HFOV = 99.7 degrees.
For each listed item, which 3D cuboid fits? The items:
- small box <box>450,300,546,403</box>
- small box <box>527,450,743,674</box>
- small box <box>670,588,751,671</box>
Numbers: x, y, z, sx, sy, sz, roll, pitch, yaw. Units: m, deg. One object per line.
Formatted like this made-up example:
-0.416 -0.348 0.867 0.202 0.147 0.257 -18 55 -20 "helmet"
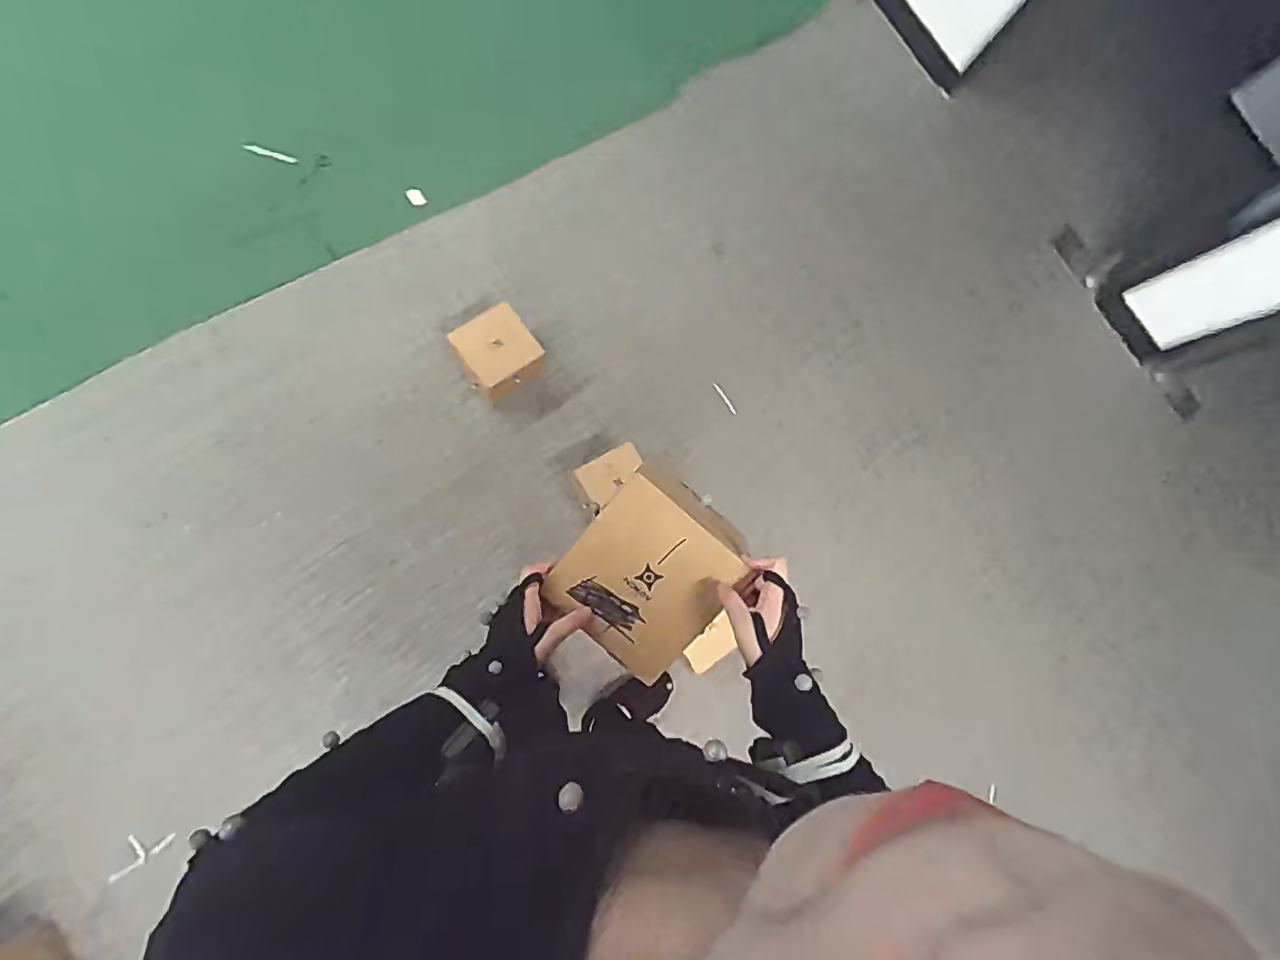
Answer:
-0.362 -0.326 1.404 0.179 0.176 0.168 -36 90 -15 "small box"
0.002 0.083 0.643 0.168 0.176 0.179 40 100 -1 "small box"
0.148 0.363 1.397 0.179 0.176 0.168 -32 89 -14 "small box"
